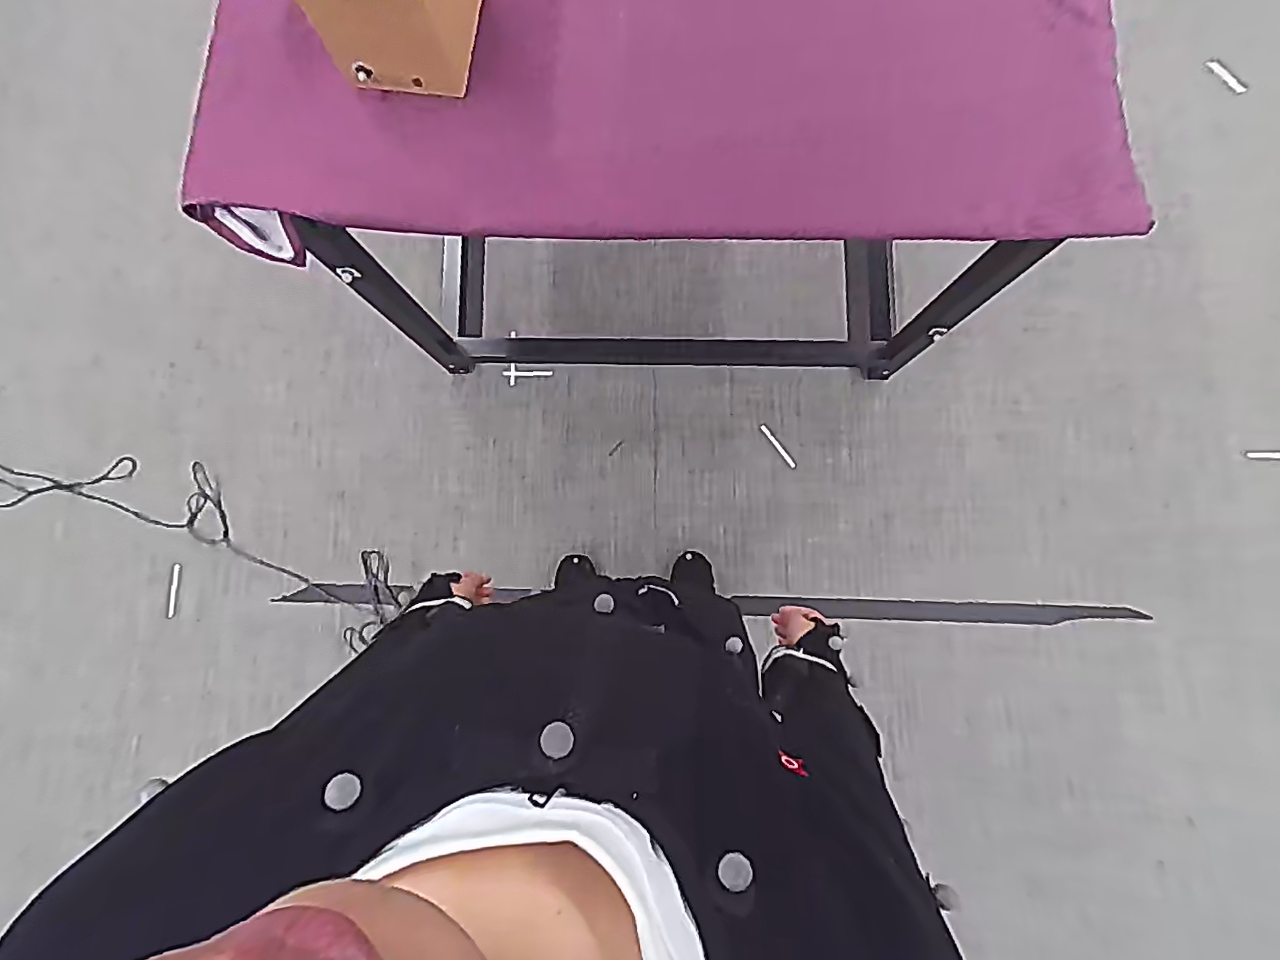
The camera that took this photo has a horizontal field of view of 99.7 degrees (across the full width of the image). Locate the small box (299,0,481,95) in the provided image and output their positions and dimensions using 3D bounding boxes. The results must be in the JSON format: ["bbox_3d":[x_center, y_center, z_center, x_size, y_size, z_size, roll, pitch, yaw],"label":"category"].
[{"bbox_3d":[-0.320,-0.646,0.702,0.168,0.176,0.179,7,83,2],"label":"small box"}]
